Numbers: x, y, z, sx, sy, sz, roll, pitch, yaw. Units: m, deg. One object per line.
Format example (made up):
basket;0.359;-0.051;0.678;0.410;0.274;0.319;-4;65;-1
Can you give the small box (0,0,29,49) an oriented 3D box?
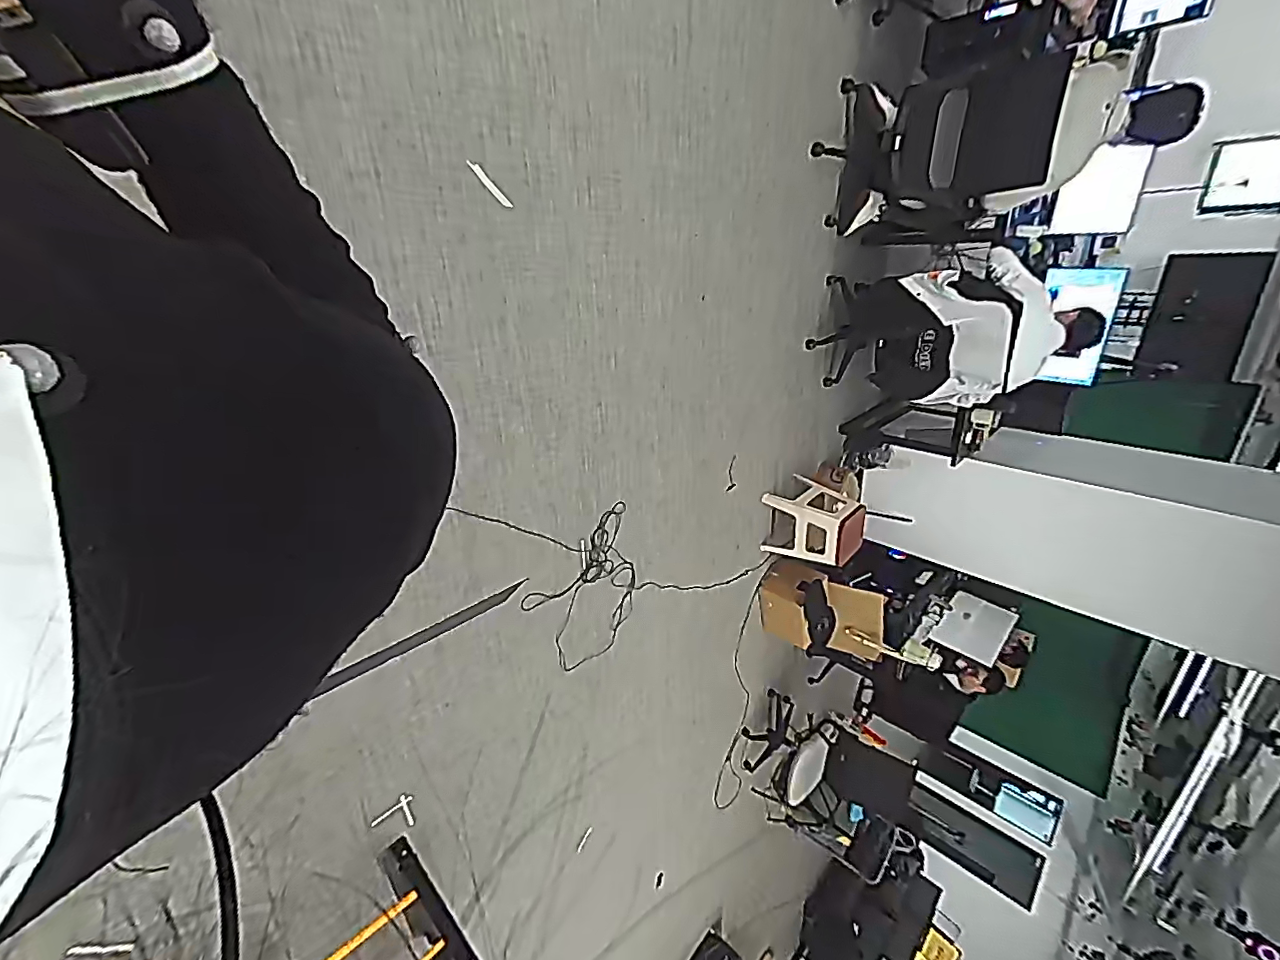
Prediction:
small box;-0.715;-0.521;0.489;0.179;0.176;0.168;-22;121;-43
